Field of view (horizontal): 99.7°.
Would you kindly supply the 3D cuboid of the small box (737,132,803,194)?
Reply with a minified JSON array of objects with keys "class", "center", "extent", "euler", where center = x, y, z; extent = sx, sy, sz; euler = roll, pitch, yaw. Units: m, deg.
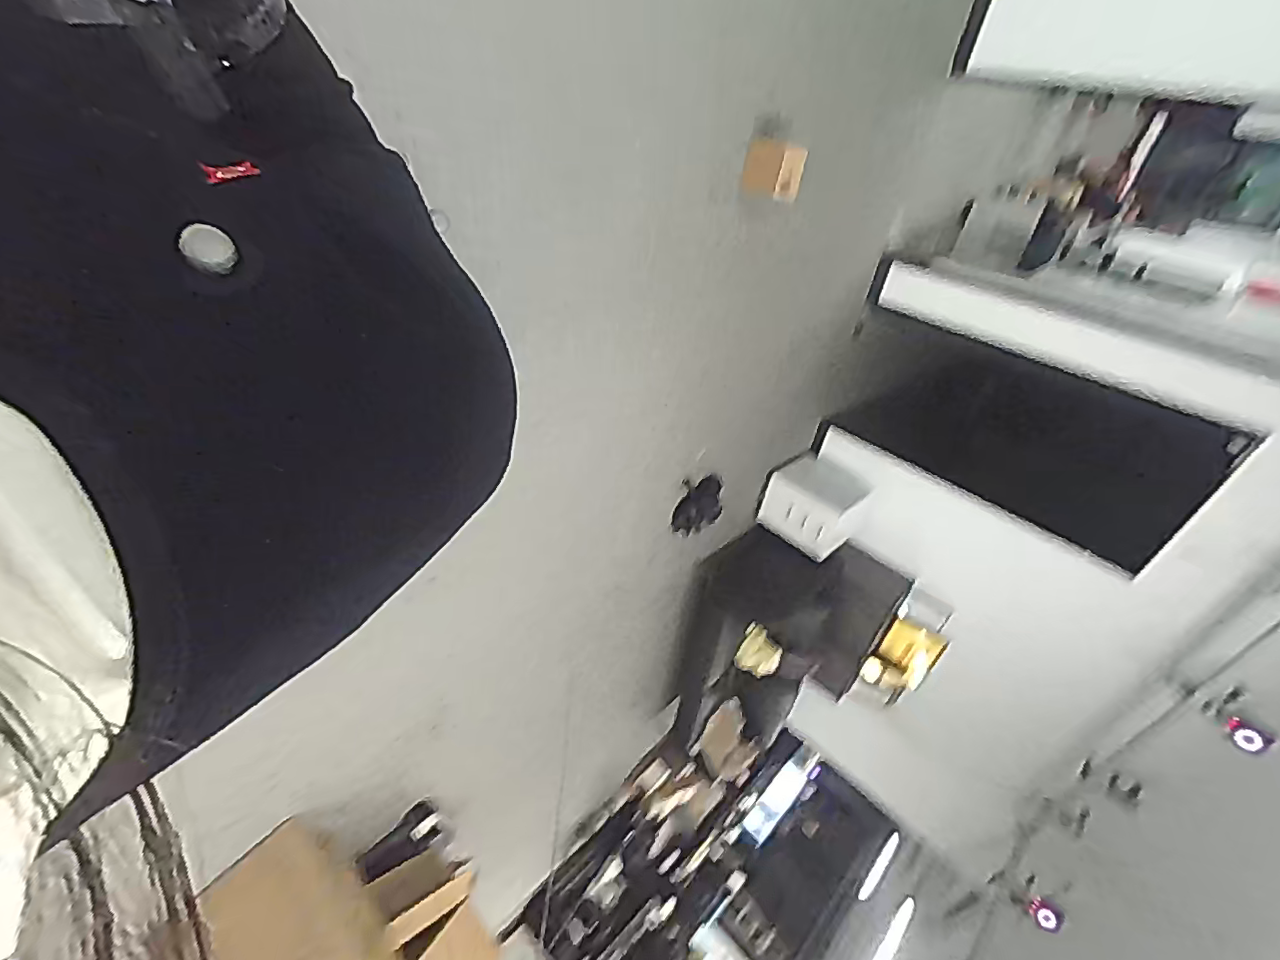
[{"class":"small box","center":[0.499,-1.231,2.103],"extent":[0.168,0.176,0.179],"euler":[-25,139,-39]}]
